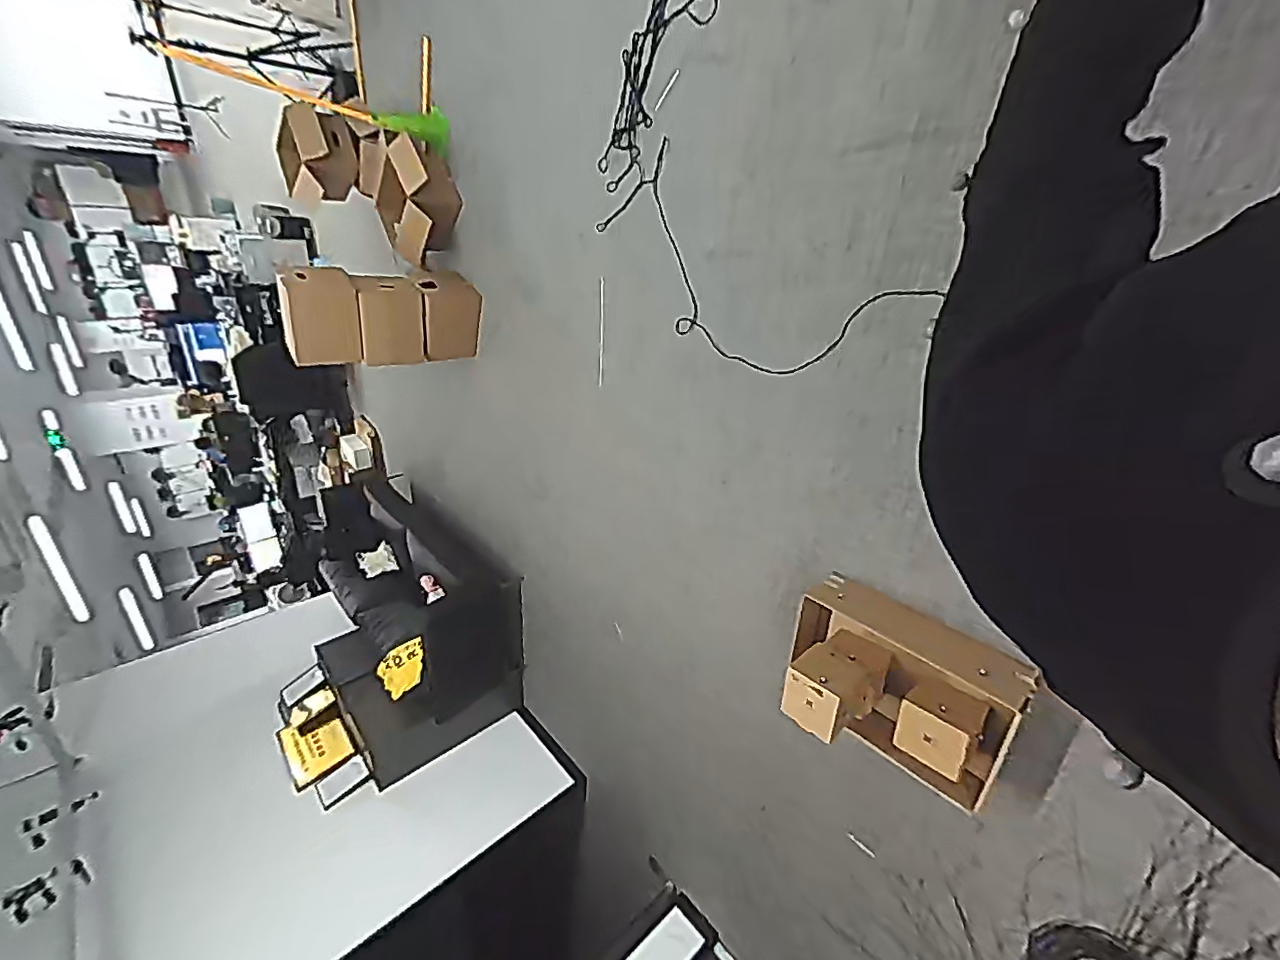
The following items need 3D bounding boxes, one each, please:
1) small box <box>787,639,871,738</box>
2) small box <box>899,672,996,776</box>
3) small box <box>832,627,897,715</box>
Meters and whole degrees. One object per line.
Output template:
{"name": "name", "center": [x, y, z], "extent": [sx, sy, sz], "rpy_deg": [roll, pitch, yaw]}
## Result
{"name": "small box", "center": [0.558, 0.609, 1.595], "extent": [0.168, 0.176, 0.179], "rpy_deg": [24, 123, 42]}
{"name": "small box", "center": [0.864, 0.673, 1.518], "extent": [0.179, 0.176, 0.168], "rpy_deg": [23, 120, 45]}
{"name": "small box", "center": [0.683, 0.592, 1.702], "extent": [0.179, 0.176, 0.168], "rpy_deg": [19, 118, 44]}
